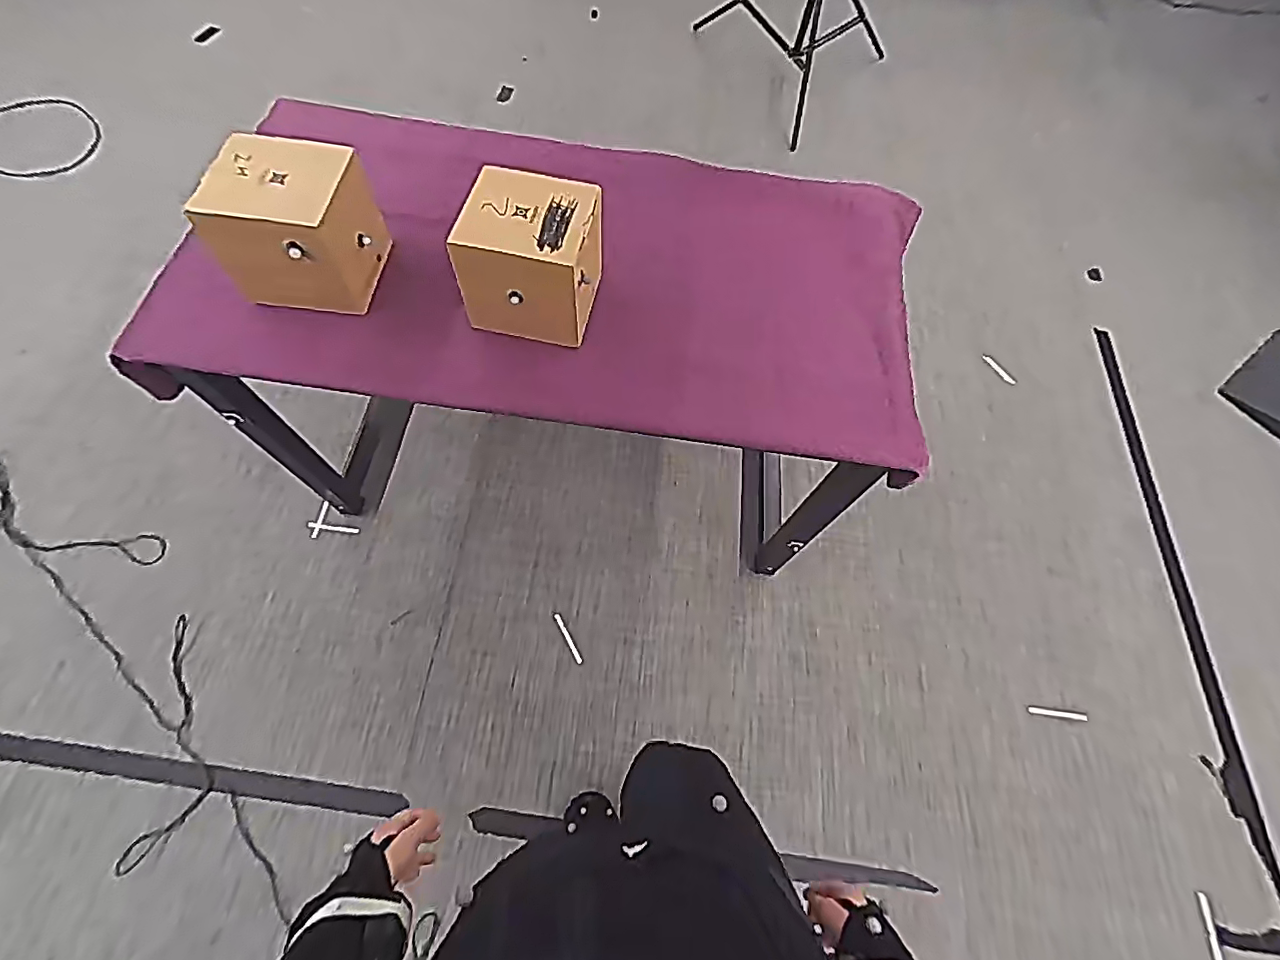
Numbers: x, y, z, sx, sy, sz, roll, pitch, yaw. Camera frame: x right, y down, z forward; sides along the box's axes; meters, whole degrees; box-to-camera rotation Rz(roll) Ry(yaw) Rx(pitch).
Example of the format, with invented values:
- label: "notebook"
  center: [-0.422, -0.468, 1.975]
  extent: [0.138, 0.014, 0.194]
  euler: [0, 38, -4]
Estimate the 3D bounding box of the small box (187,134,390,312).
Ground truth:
- label: "small box"
  center: [-0.501, -0.374, 0.808]
  extent: [0.179, 0.176, 0.168]
  euler: [6, 64, -2]
